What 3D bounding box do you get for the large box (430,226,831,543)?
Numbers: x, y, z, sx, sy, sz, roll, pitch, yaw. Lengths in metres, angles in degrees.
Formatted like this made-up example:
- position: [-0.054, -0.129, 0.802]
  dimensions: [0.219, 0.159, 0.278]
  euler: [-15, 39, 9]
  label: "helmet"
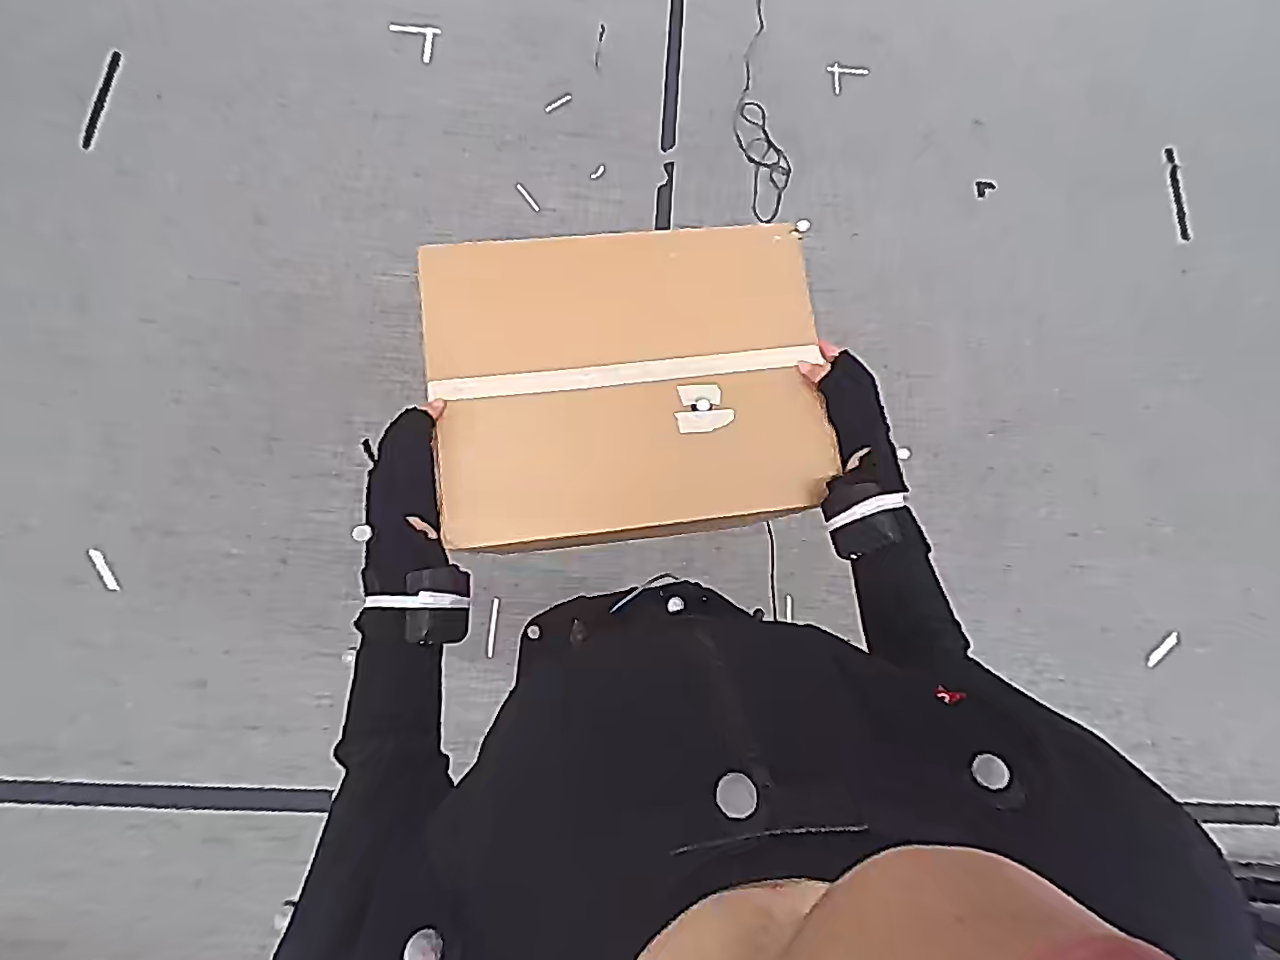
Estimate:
- position: [-0.024, -0.096, 0.715]
  dimensions: [0.408, 0.320, 0.320]
  euler: [-5, 83, -7]
  label: "large box"
